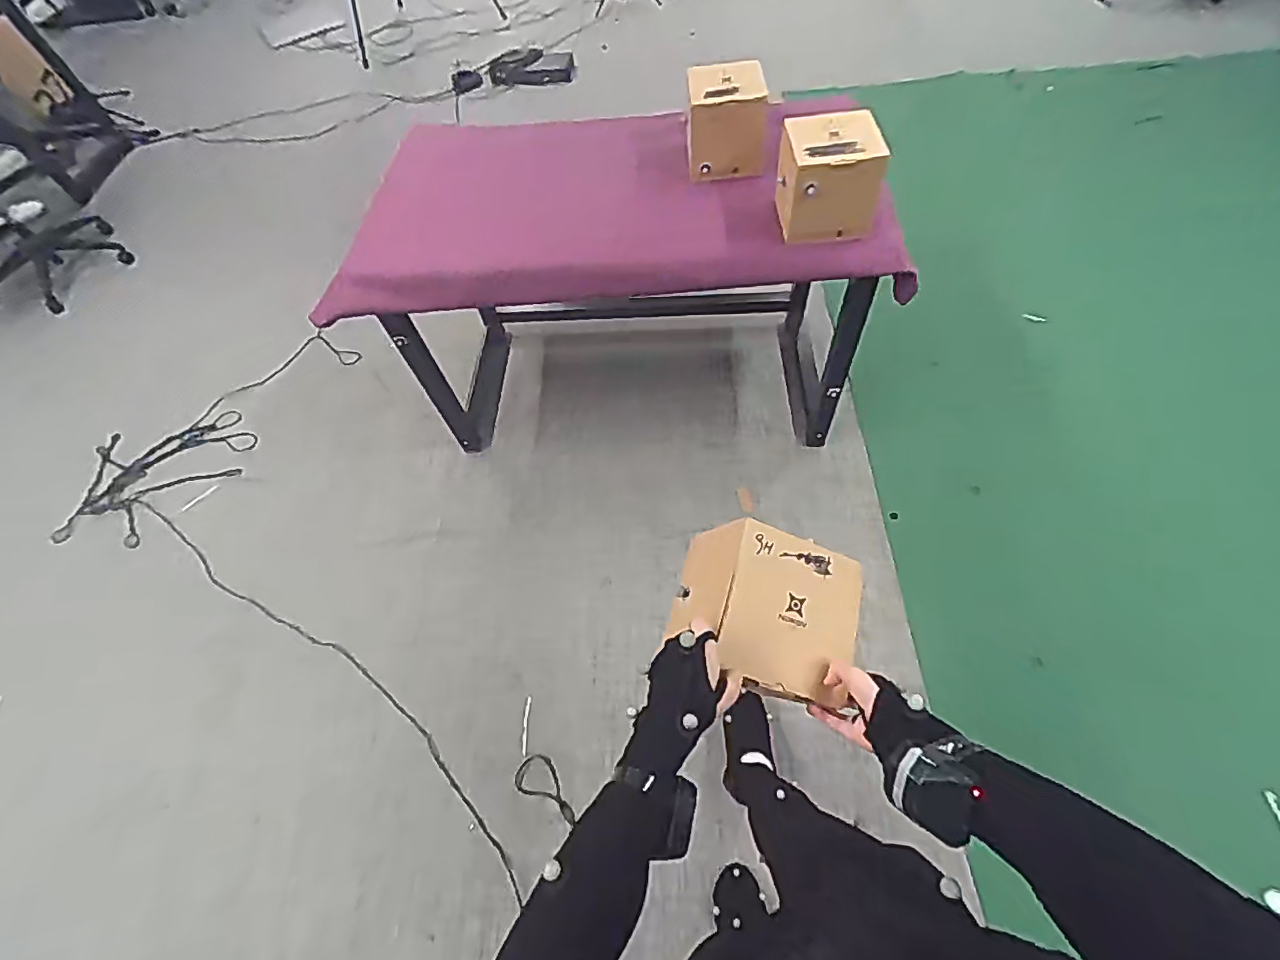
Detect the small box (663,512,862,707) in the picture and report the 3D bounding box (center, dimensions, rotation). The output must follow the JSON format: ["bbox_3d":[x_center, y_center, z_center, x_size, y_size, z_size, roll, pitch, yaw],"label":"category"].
[{"bbox_3d":[0.143,0.161,0.680,0.168,0.176,0.179,22,71,-12],"label":"small box"}]

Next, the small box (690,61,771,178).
[{"bbox_3d":[0.202,-0.816,1.238,0.168,0.176,0.179,-3,58,4],"label":"small box"}]
